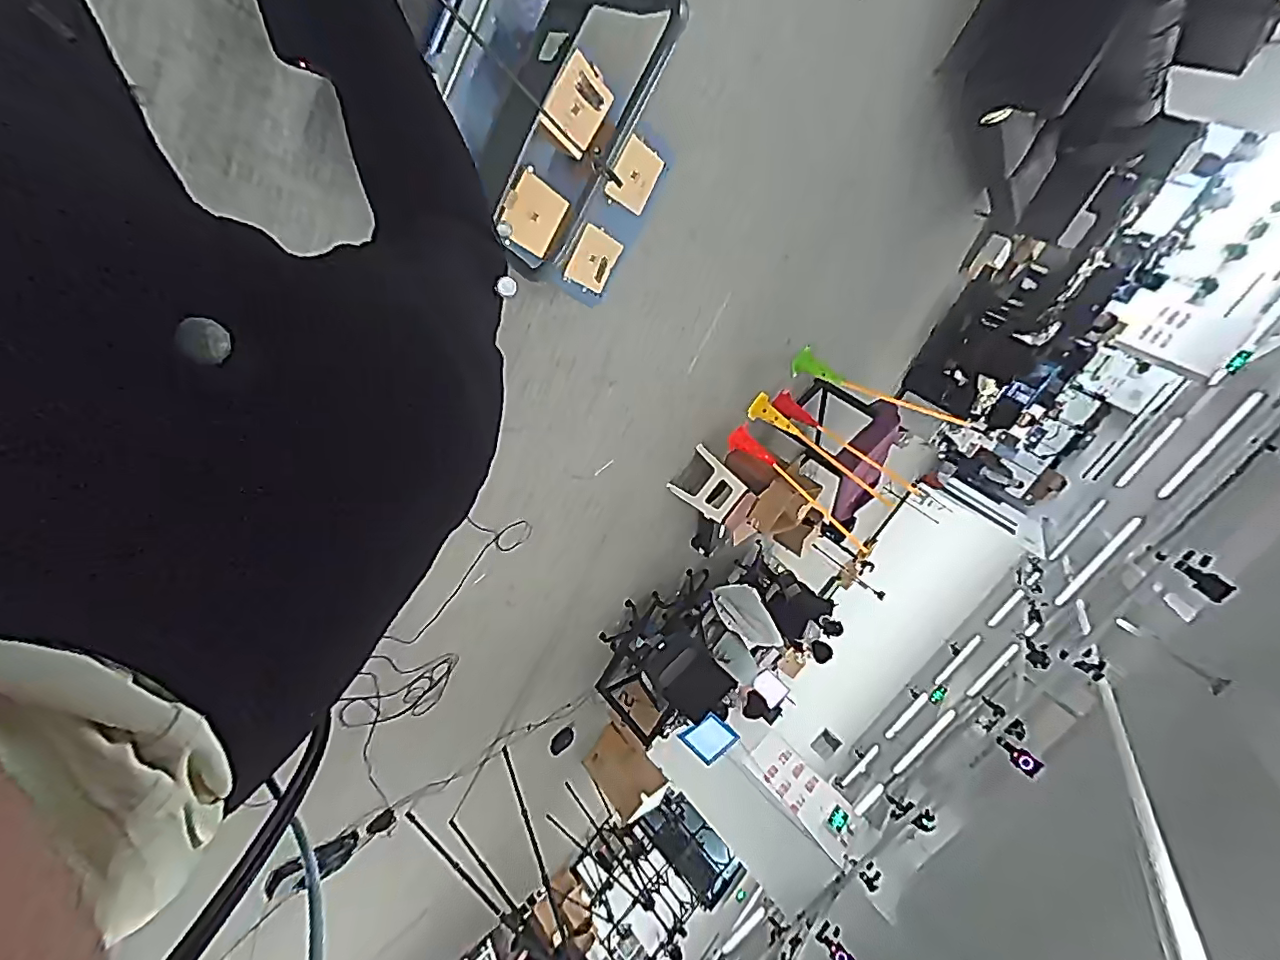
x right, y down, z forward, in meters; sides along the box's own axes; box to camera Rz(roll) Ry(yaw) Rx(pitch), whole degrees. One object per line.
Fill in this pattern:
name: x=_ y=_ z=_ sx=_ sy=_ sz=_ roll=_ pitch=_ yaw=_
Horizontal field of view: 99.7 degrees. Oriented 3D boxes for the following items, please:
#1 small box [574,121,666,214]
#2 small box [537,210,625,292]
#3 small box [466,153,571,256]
small box: x=-0.062 y=-0.926 z=1.595 sx=0.179 sy=0.176 sz=0.168 roll=1 pitch=124 yaw=-55
small box: x=-0.186 y=-0.715 z=1.673 sx=0.179 sy=0.176 sz=0.168 roll=5 pitch=120 yaw=-55
small box: x=-0.327 y=-0.740 z=1.450 sx=0.179 sy=0.176 sz=0.168 roll=9 pitch=117 yaw=-57
